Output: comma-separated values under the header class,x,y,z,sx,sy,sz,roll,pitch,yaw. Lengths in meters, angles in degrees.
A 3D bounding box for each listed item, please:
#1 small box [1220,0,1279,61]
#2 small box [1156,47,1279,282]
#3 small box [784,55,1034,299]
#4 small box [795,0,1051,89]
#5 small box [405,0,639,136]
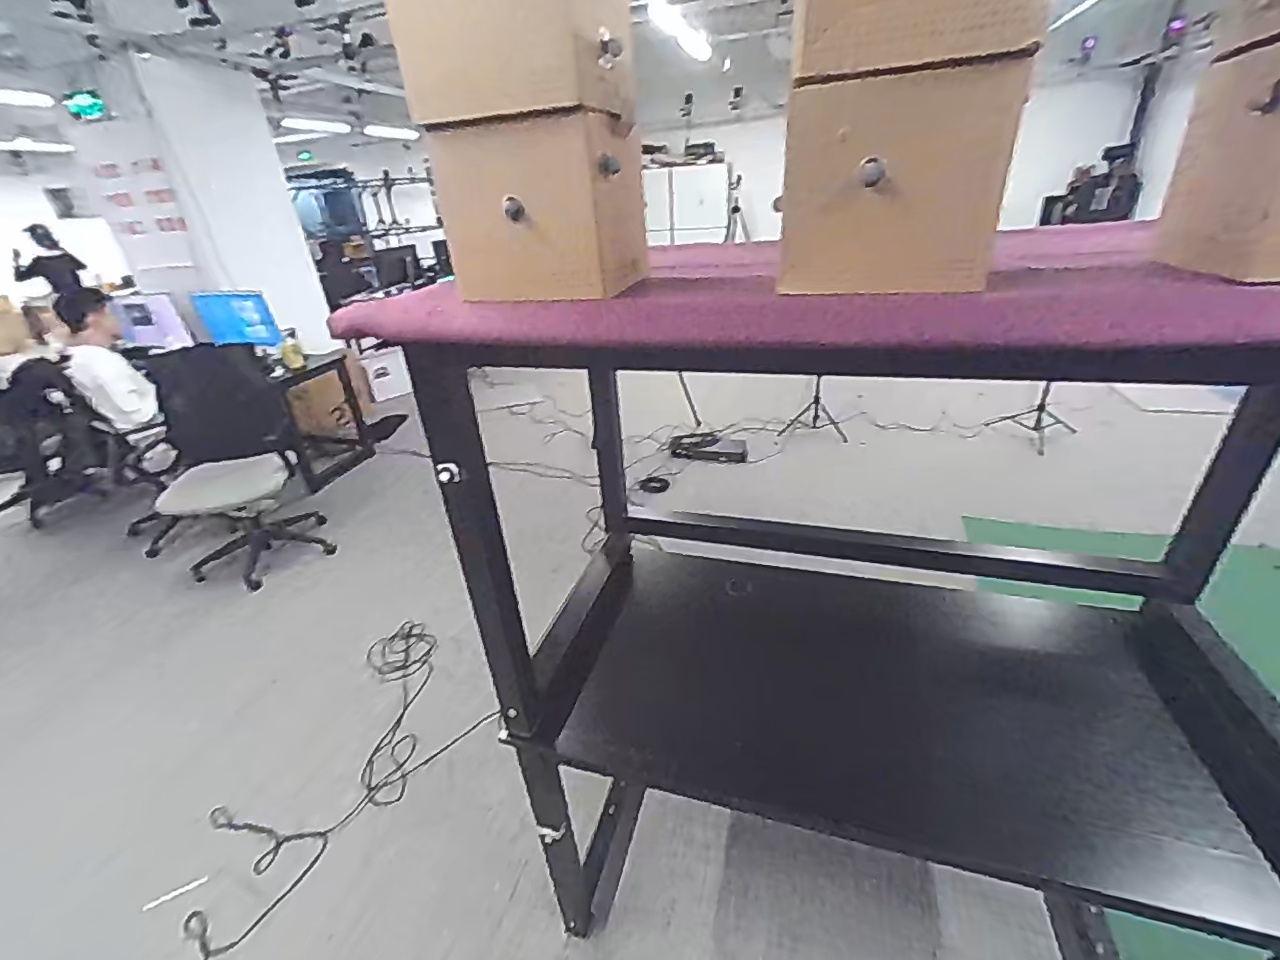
class,x,y,z,sx,sy,sz,roll,pitch,yaw
small box,0.542,-0.389,0.337,0.179,0.176,0.168,3,26,19
small box,0.562,-0.250,0.420,0.168,0.176,0.179,5,28,19
small box,0.236,-0.273,0.516,0.179,0.176,0.168,5,30,19
small box,0.227,-0.414,0.435,0.179,0.176,0.168,8,30,21
small box,-0.109,-0.438,0.523,0.179,0.176,0.168,5,30,17
